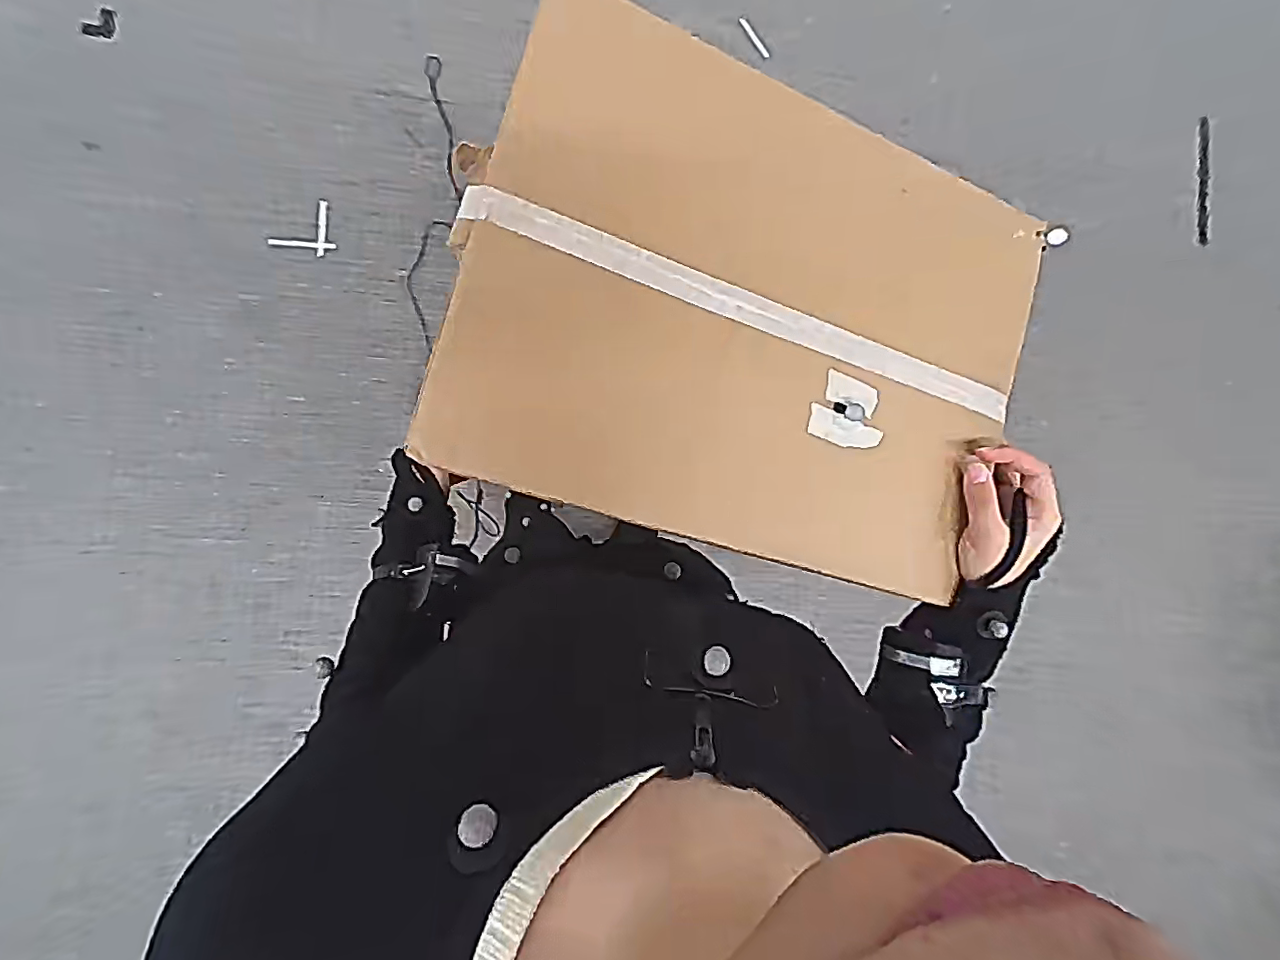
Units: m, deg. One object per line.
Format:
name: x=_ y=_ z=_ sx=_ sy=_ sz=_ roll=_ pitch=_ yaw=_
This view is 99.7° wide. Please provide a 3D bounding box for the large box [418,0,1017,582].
large box: x=0.045 y=-0.116 z=0.518 sx=0.408 sy=0.320 sz=0.320 roll=16 pitch=87 yaw=-16
